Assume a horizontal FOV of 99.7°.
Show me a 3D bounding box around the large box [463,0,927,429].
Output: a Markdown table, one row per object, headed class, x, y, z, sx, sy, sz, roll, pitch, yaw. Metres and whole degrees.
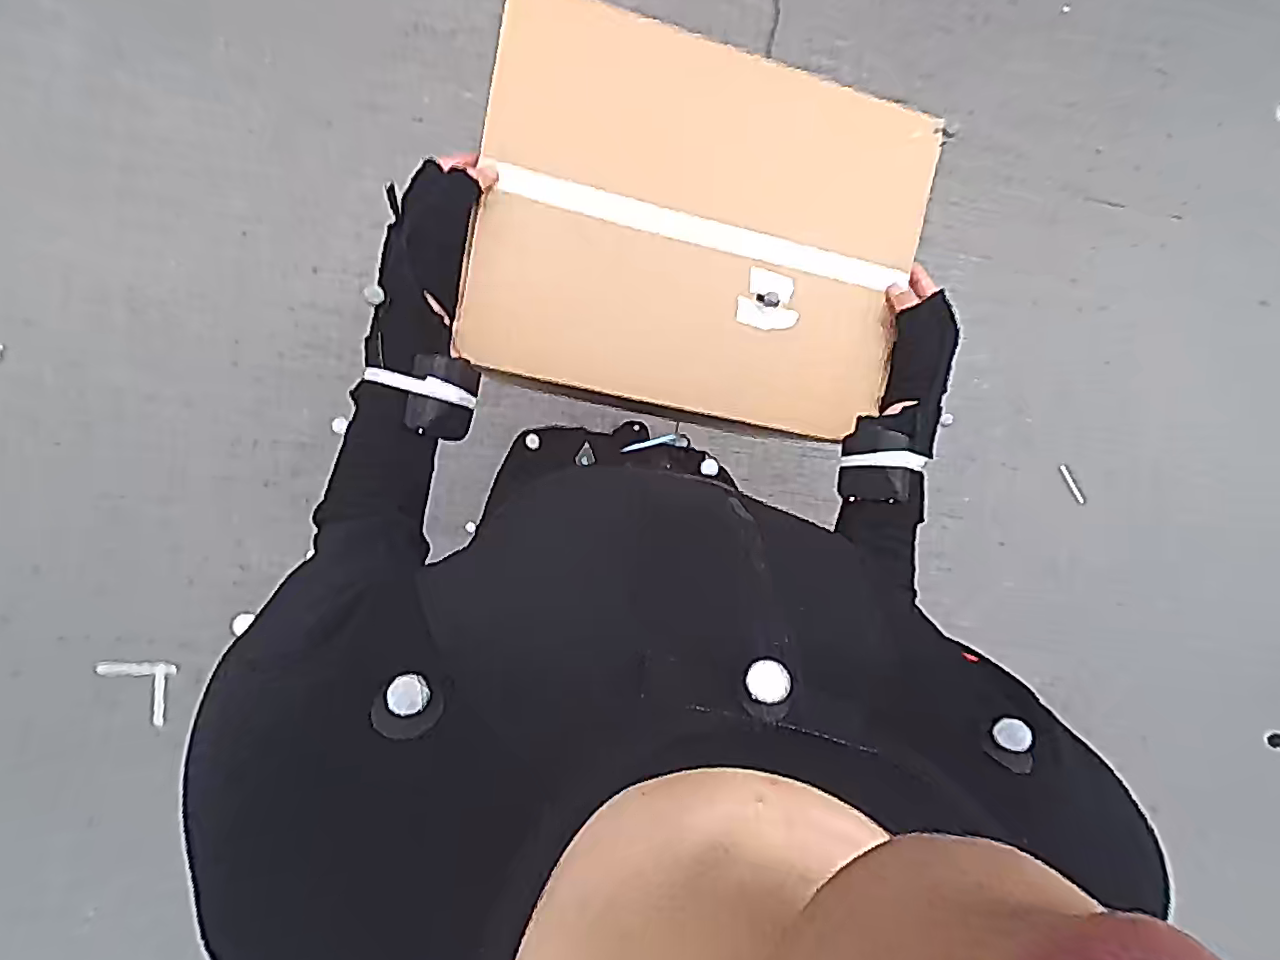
| class | x | y | z | sx | sy | sz | roll | pitch | yaw |
| --- | --- | --- | --- | --- | --- | --- | --- | --- | --- |
| large box | 0.033 | -0.248 | 0.640 | 0.408 | 0.320 | 0.320 | 10 | 97 | -12 |
